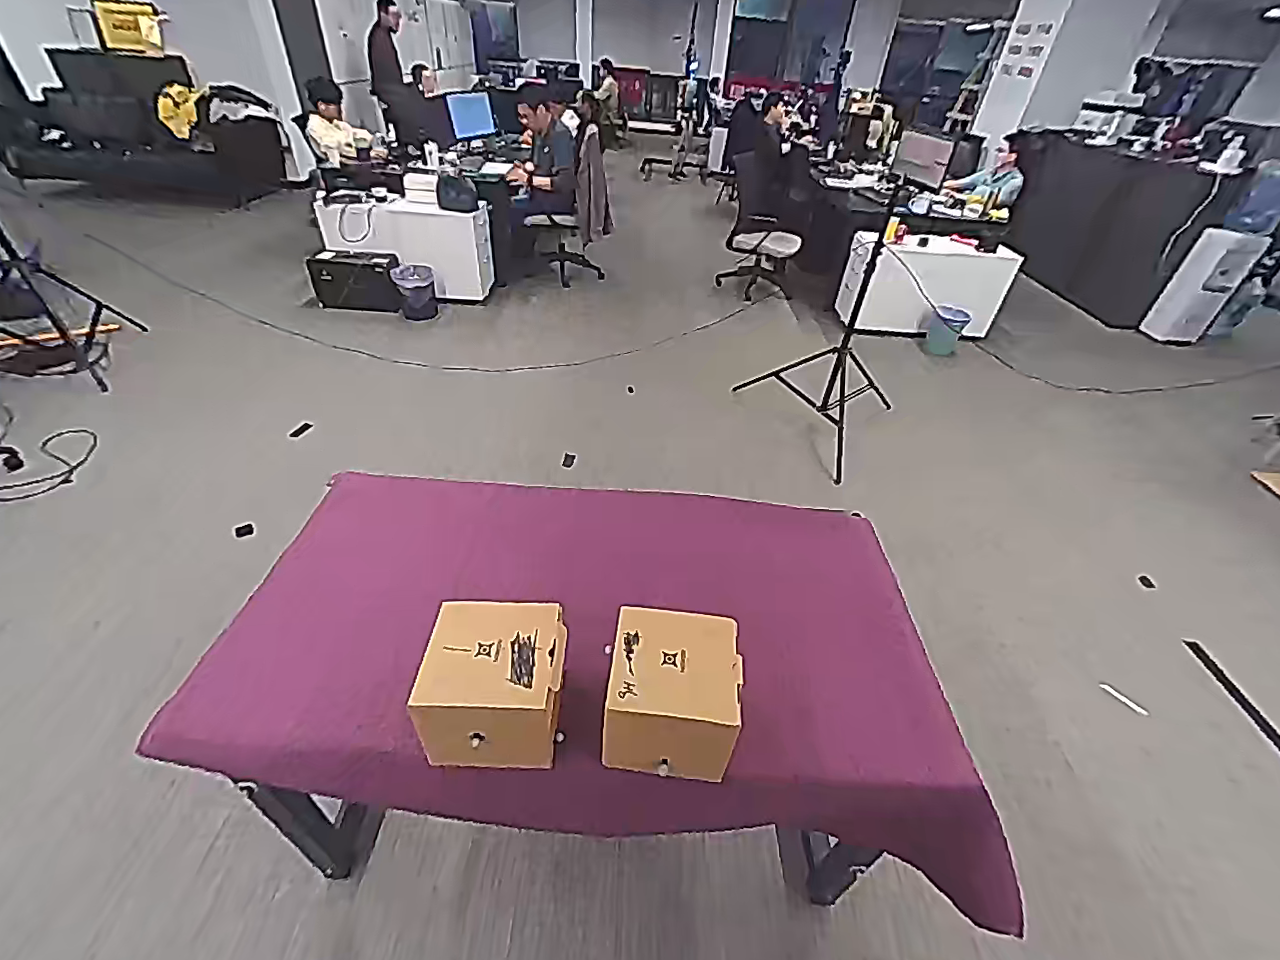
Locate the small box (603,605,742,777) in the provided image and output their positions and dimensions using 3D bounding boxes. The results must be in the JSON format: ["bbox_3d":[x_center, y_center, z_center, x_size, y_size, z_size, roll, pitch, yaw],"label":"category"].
[{"bbox_3d":[0.045,0.311,0.796,0.179,0.176,0.168,7,38,2],"label":"small box"}]

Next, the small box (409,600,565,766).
[{"bbox_3d":[-0.206,0.296,0.787,0.179,0.176,0.168,2,38,-1],"label":"small box"}]
